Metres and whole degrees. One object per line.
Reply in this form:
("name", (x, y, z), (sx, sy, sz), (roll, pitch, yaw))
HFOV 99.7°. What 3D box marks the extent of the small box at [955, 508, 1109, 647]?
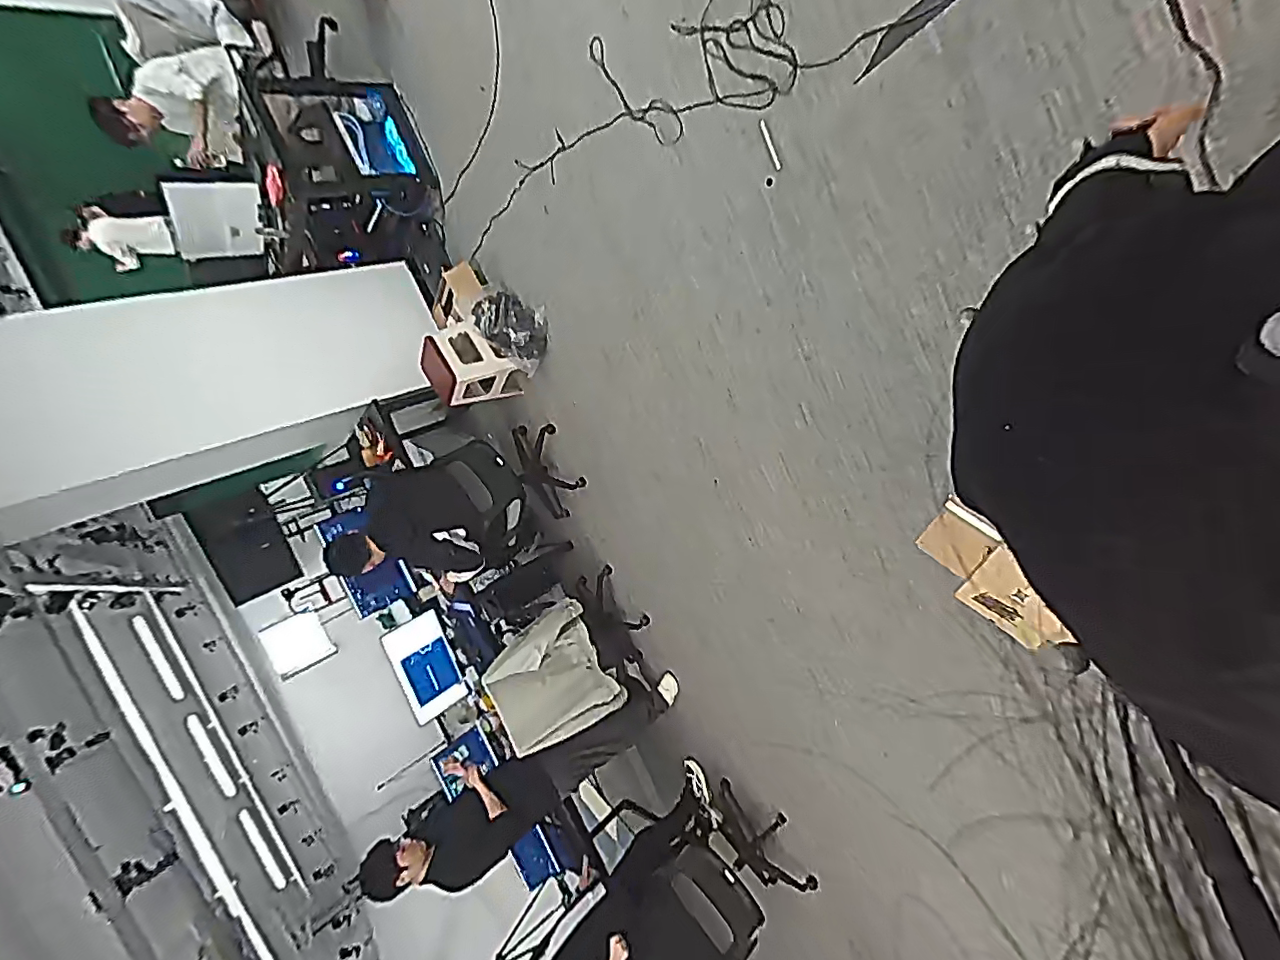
("small box", (0.780, 0.190, 1.076), (0.168, 0.176, 0.179), (41, 139, 29))
